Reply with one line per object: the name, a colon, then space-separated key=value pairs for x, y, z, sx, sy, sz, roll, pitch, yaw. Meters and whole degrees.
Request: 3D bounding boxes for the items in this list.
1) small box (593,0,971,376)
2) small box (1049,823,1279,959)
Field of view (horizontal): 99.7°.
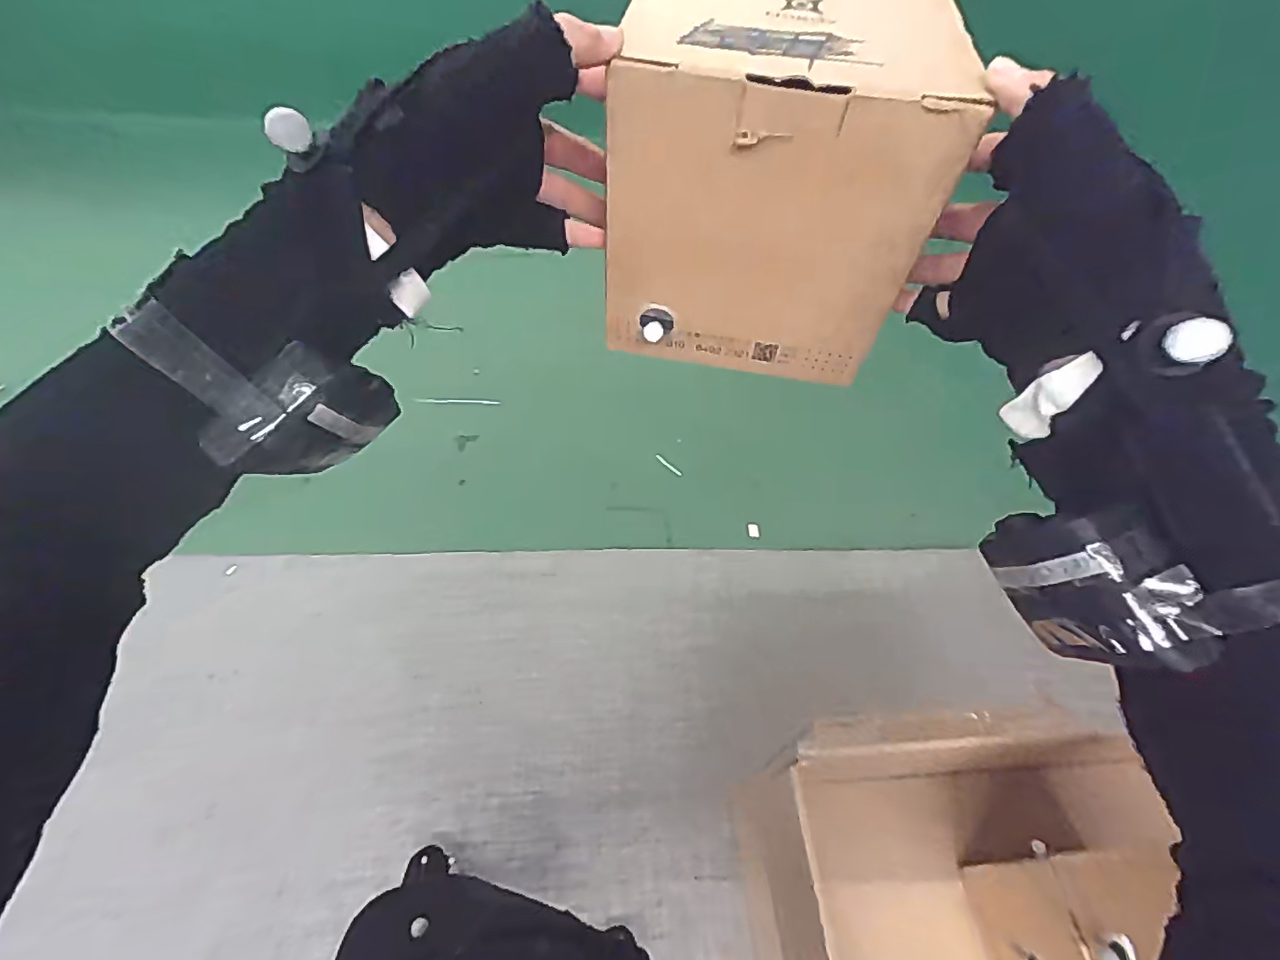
small box: x=0.070 y=-0.190 z=0.344 sx=0.168 sy=0.176 sz=0.179 roll=9 pitch=56 yaw=2
small box: x=0.487 y=0.374 z=0.423 sx=0.179 sy=0.176 sz=0.168 roll=-3 pitch=52 yaw=-6
